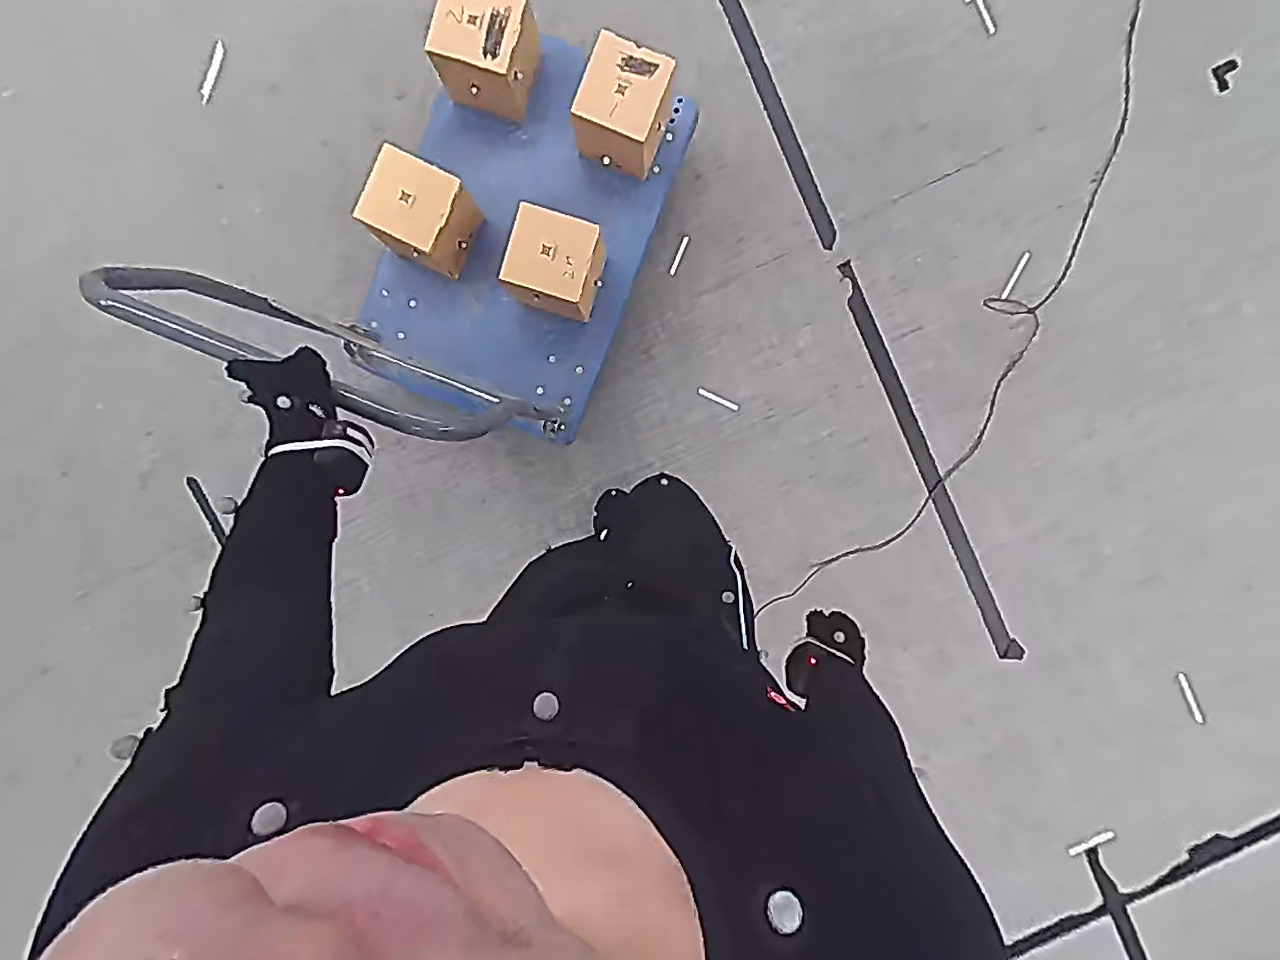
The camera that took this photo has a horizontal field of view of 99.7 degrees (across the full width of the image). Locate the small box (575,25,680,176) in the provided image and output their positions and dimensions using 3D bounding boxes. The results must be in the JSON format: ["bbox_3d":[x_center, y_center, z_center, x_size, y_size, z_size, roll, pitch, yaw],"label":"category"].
[{"bbox_3d":[-0.026,-0.803,1.164,0.168,0.176,0.179,23,94,-1],"label":"small box"}]

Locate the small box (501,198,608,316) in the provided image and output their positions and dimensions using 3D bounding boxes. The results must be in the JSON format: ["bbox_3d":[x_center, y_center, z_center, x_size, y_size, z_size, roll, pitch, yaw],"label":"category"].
[{"bbox_3d":[-0.179,-0.476,1.183,0.179,0.176,0.168,18,93,-1],"label":"small box"}]

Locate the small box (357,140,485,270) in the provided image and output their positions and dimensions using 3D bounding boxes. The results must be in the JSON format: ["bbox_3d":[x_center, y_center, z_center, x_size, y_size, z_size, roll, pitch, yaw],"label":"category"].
[{"bbox_3d":[-0.468,-0.585,1.178,0.179,0.176,0.168,25,92,-3],"label":"small box"}]
